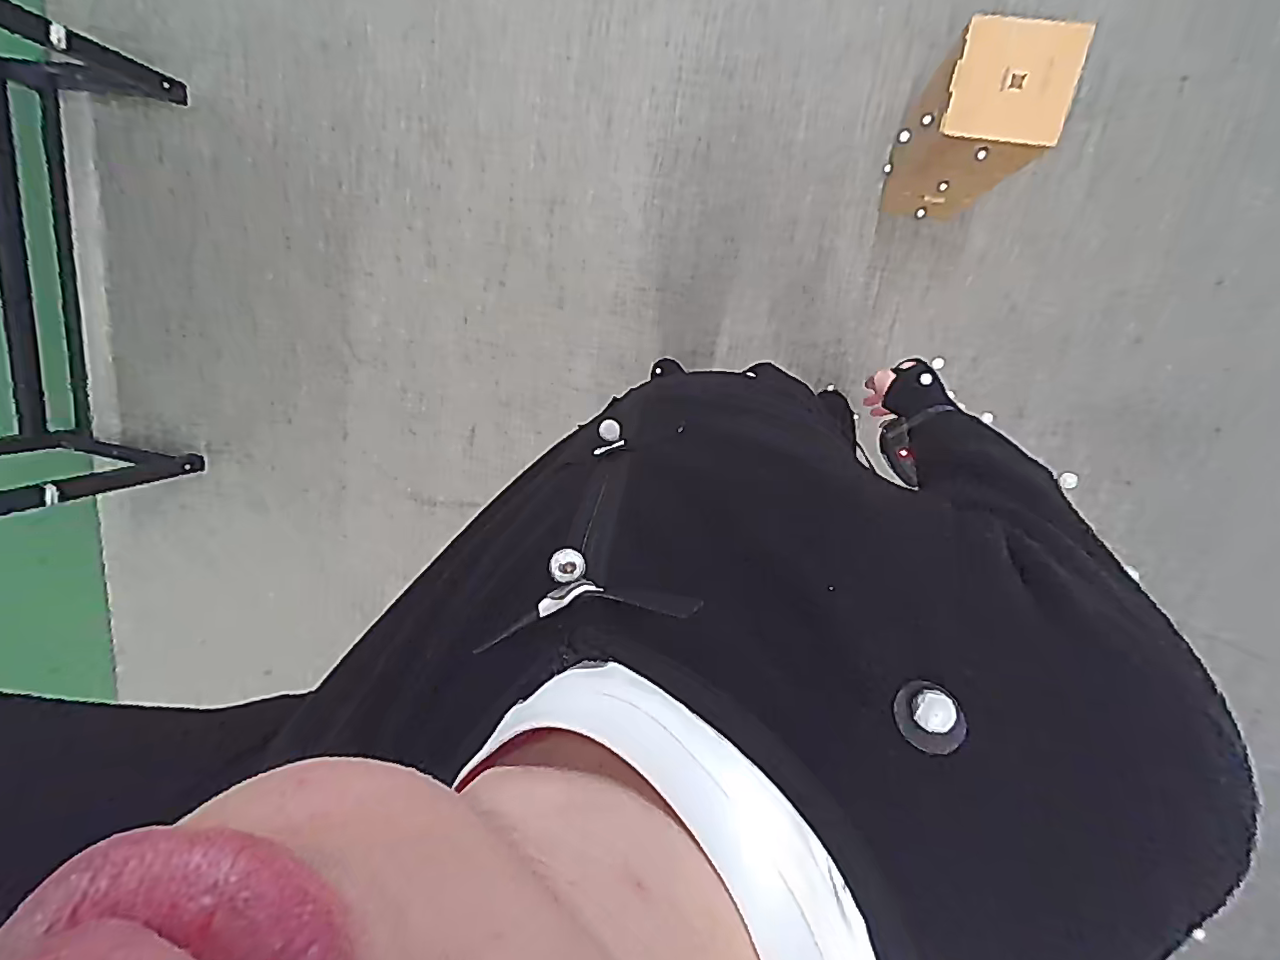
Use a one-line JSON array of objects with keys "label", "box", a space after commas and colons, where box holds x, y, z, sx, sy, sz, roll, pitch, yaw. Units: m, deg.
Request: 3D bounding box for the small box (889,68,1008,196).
[{"label": "small box", "box": [0.620, -0.677, 1.068, 0.179, 0.176, 0.168, 11, 104, 8]}]

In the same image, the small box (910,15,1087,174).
[{"label": "small box", "box": [0.586, -0.638, 0.915, 0.179, 0.176, 0.168, 11, 105, 7]}]

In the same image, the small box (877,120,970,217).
[{"label": "small box", "box": [0.656, -0.714, 1.225, 0.168, 0.176, 0.179, 12, 105, 7]}]
